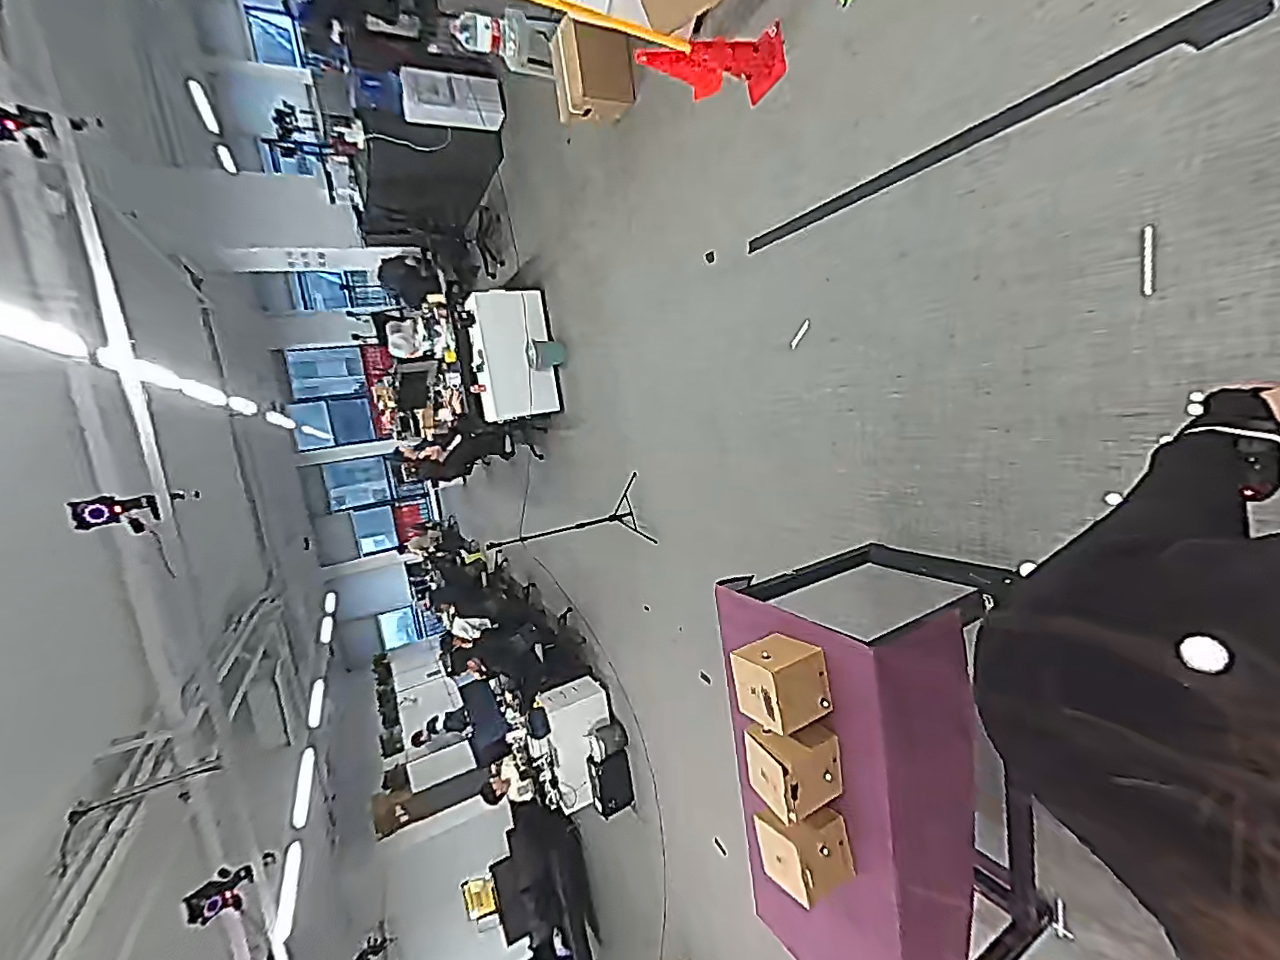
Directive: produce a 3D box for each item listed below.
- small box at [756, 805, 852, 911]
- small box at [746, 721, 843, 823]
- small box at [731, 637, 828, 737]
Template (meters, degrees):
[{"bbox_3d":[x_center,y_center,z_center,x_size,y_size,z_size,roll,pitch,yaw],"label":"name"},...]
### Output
[{"bbox_3d":[0.442,0.979,1.444,0.179,0.176,0.168,-11,90,64],"label":"small box"},{"bbox_3d":[0.402,0.737,1.413,0.179,0.176,0.168,9,109,61],"label":"small box"},{"bbox_3d":[0.363,0.521,1.393,0.179,0.176,0.168,-3,99,64],"label":"small box"}]
